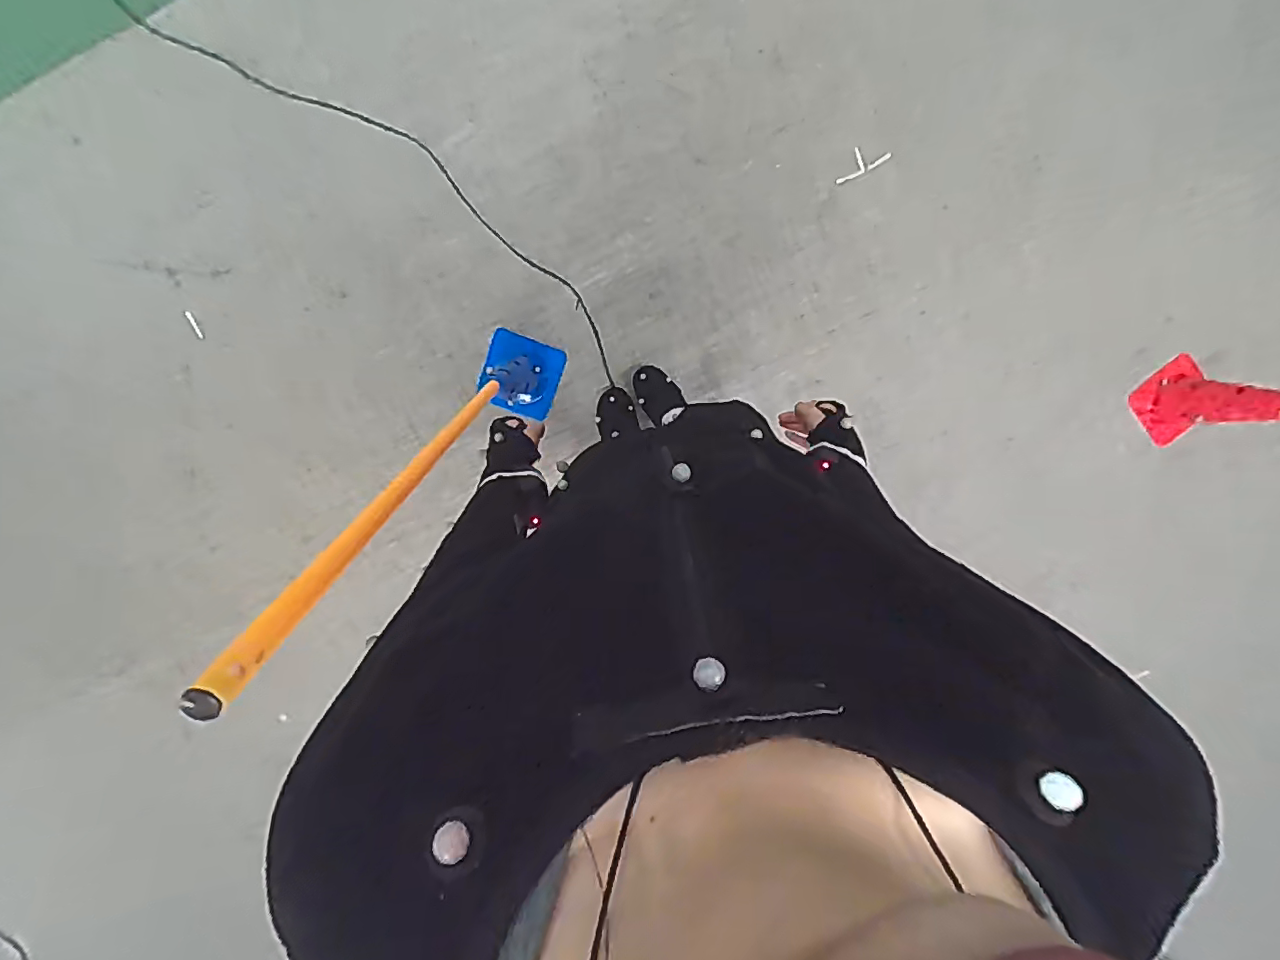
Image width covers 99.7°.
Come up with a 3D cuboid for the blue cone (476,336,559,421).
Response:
[{"bbox_3d":[-0.309,-0.220,1.255,0.192,0.380,0.193,18,103,-8],"label":"blue cone"}]
